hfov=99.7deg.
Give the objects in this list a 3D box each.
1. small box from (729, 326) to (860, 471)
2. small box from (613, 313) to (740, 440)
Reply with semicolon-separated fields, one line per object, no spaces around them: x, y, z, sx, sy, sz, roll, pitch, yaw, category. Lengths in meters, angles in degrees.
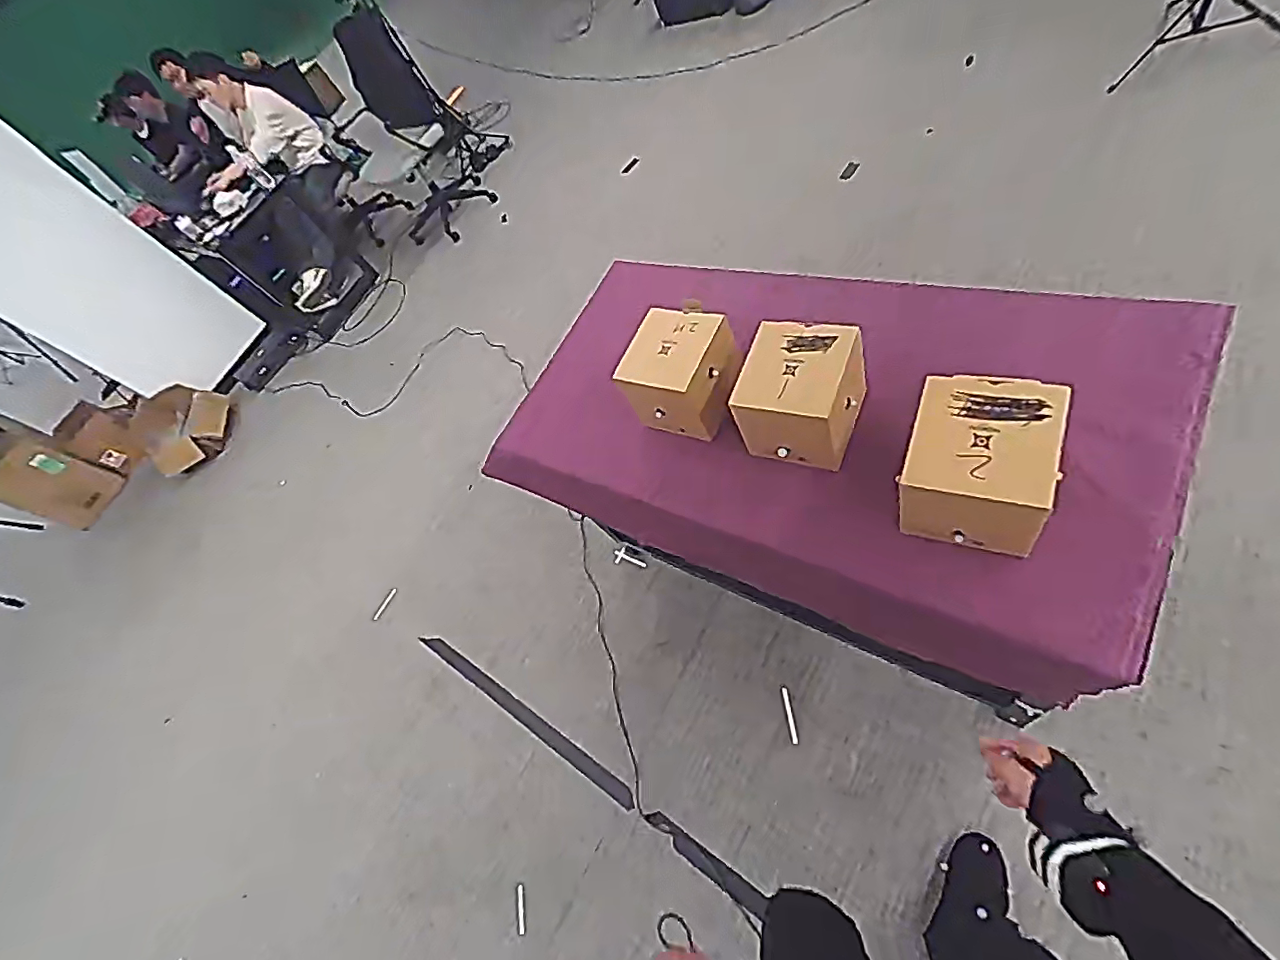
0.276;-0.140;0.939;0.168;0.176;0.179;13;69;31;small box
0.081;-0.201;1.069;0.168;0.176;0.179;18;71;32;small box
